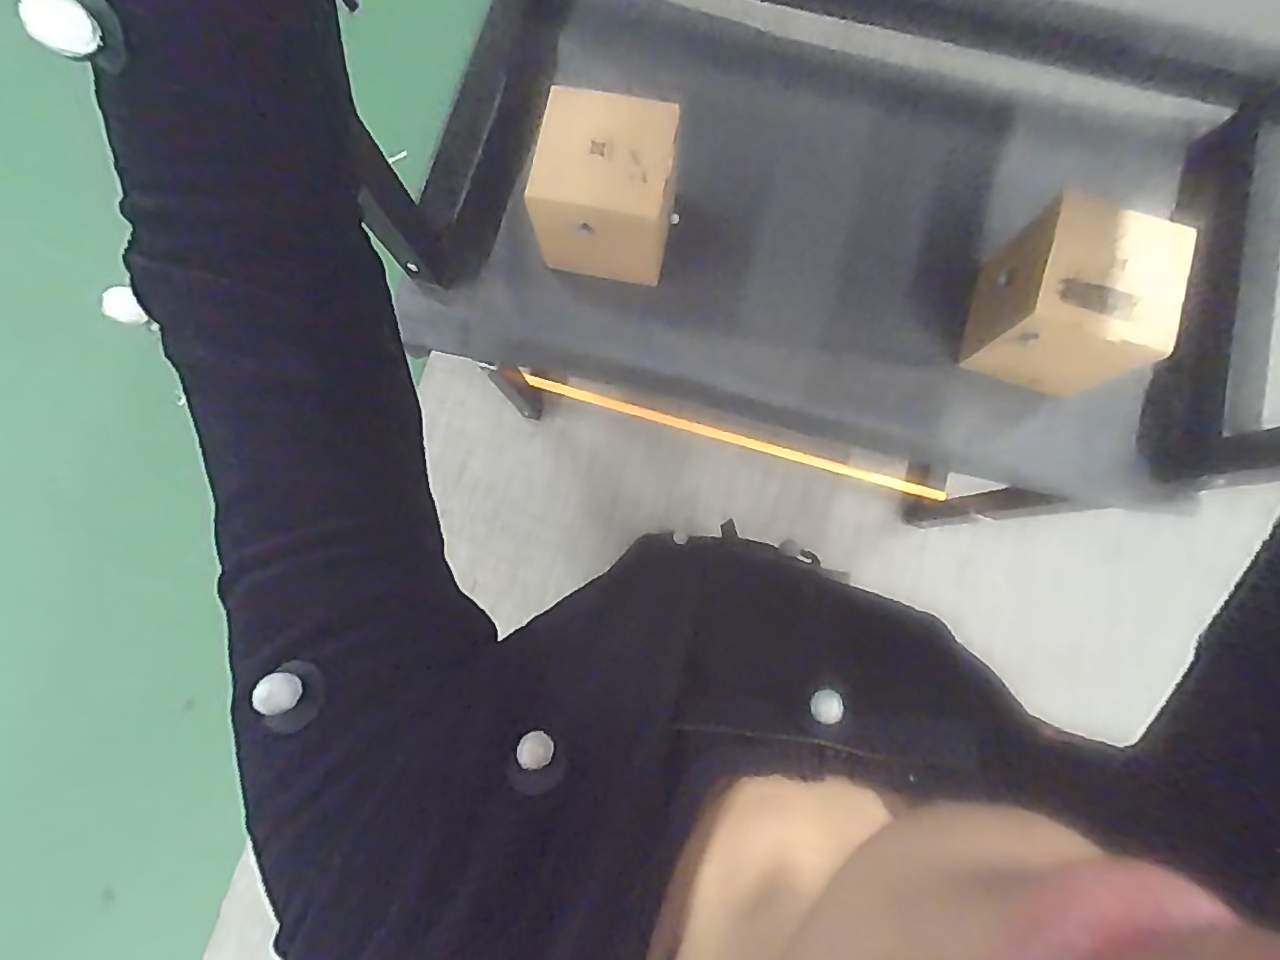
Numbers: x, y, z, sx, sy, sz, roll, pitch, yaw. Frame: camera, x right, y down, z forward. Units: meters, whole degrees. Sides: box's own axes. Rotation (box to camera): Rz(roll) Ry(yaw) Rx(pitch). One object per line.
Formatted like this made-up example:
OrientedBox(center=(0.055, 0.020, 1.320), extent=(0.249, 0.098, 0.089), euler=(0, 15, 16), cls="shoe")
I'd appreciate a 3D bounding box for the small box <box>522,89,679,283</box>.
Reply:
OrientedBox(center=(-0.048, -0.405, 0.770), extent=(0.179, 0.176, 0.168), euler=(11, 82, 2), cls="small box")
